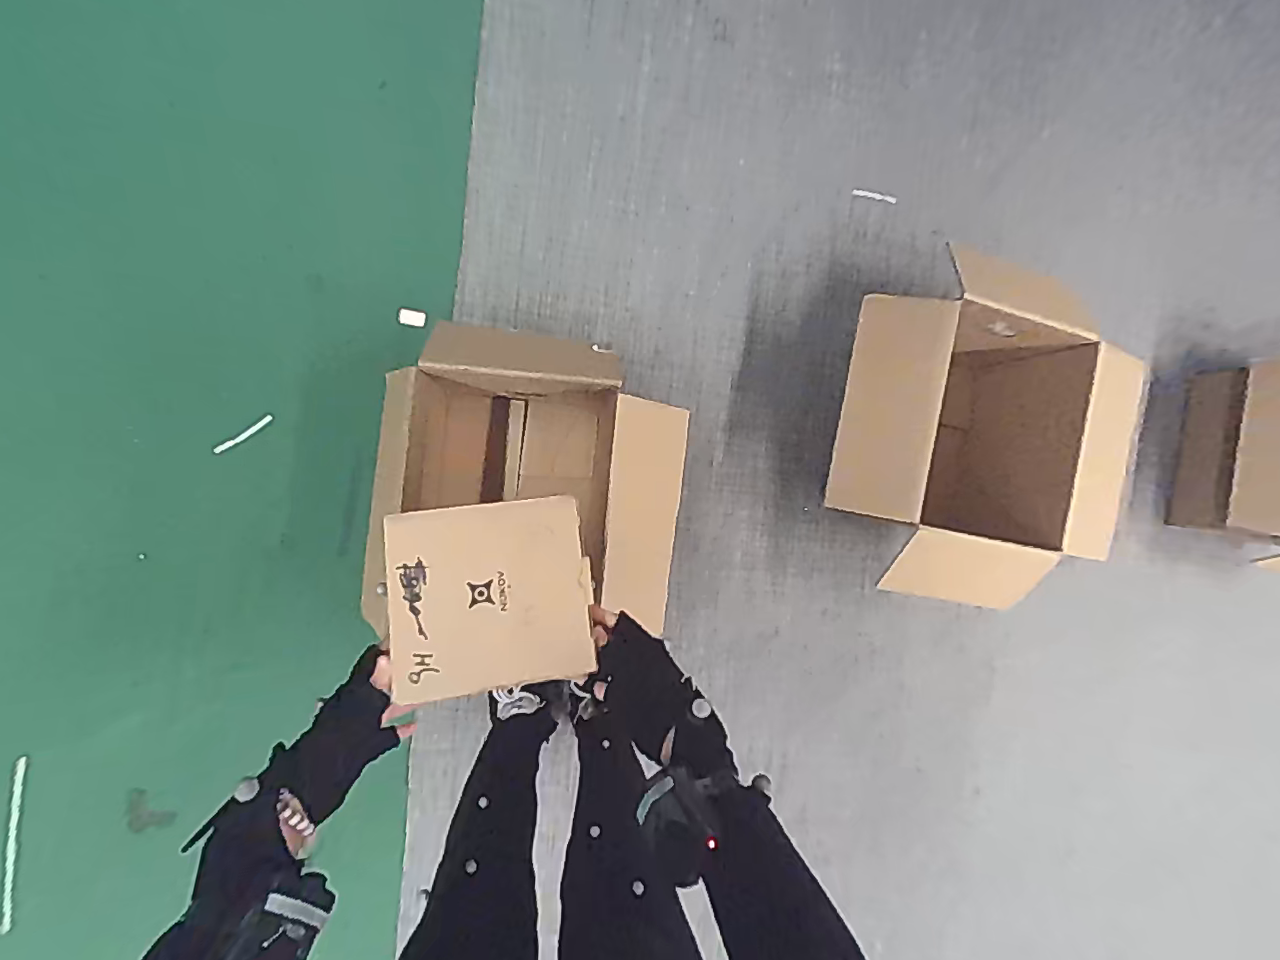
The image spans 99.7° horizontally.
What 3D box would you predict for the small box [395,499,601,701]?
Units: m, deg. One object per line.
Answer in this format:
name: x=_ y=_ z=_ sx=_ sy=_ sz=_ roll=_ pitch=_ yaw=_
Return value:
small box: x=-0.148 y=0.122 z=0.577 sx=0.179 sy=0.176 sz=0.168 roll=-6 pitch=78 yaw=-13
